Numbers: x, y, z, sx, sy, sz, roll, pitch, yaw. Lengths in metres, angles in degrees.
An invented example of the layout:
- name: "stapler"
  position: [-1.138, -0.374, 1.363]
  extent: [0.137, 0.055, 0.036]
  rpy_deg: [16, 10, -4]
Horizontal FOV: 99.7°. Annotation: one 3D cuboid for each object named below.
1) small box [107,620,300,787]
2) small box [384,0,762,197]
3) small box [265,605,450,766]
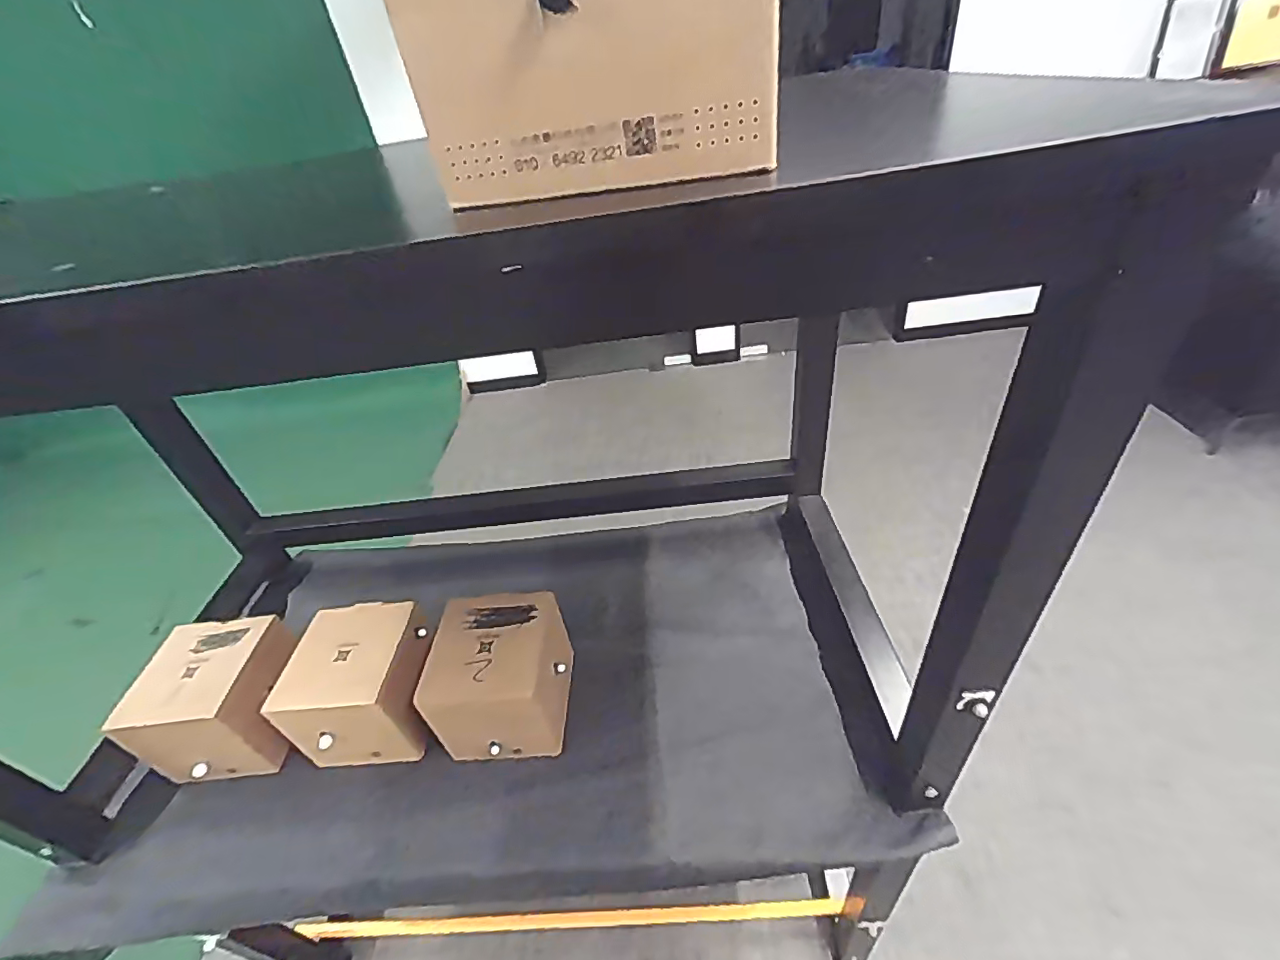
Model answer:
- name: "small box"
  position: [-0.640, 0.347, 0.845]
  extent: [0.168, 0.176, 0.179]
  rpy_deg: [-8, 37, 3]
- name: "small box"
  position: [-0.022, -0.259, 0.285]
  extent: [0.168, 0.176, 0.179]
  rpy_deg: [-1, 37, 11]
- name: "small box"
  position: [-0.415, 0.321, 0.834]
  extent: [0.168, 0.176, 0.179]
  rpy_deg: [-6, 36, 4]
